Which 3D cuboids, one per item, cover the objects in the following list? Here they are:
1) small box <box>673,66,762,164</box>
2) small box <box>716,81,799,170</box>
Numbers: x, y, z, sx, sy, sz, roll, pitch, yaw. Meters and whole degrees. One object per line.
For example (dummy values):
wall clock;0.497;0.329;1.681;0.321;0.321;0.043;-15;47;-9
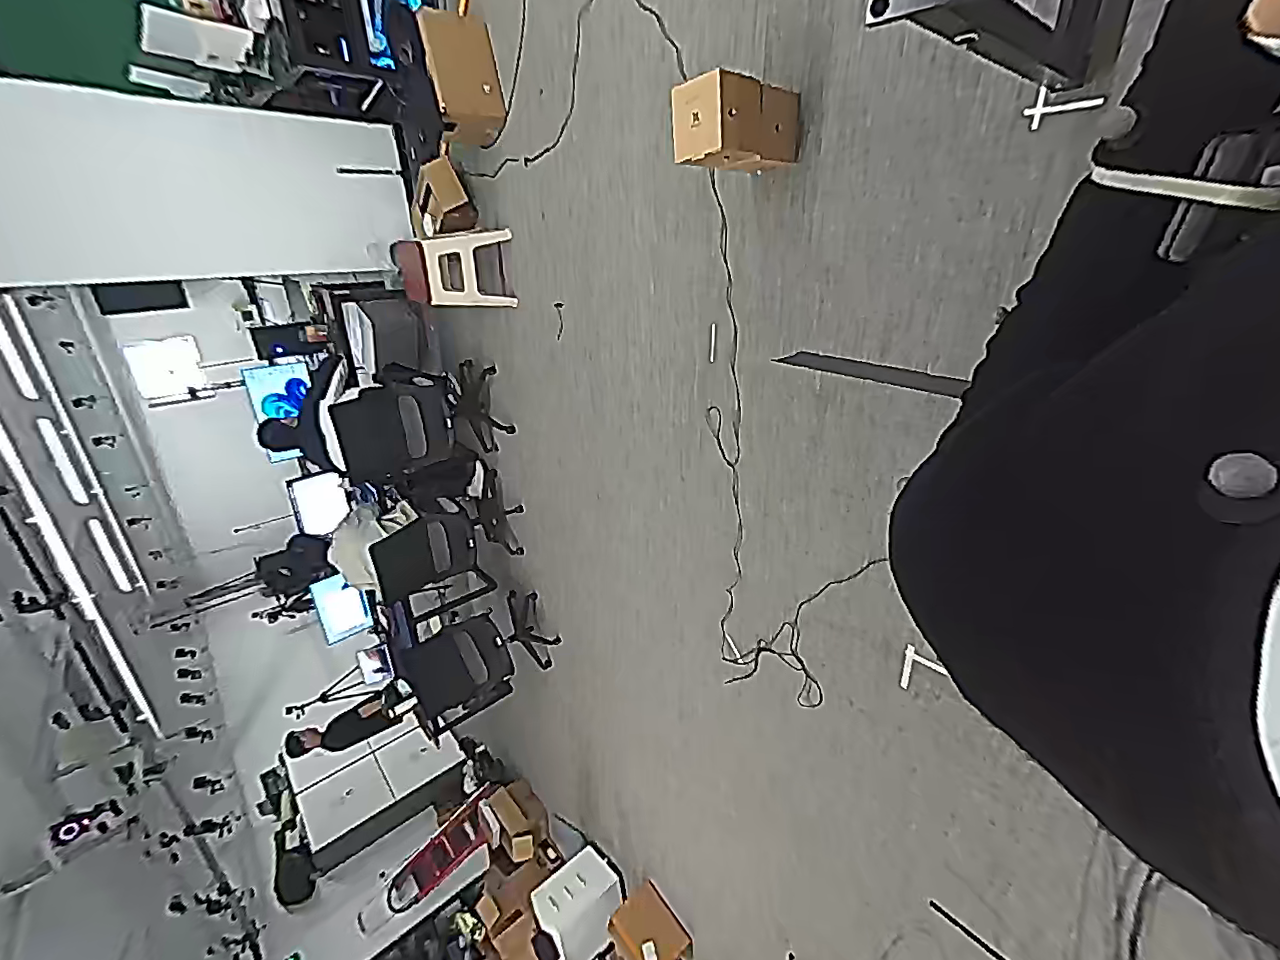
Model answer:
small box;0.206;-0.945;1.420;0.168;0.176;0.179;16;118;46
small box;0.330;-0.985;1.518;0.168;0.176;0.179;21;123;45
